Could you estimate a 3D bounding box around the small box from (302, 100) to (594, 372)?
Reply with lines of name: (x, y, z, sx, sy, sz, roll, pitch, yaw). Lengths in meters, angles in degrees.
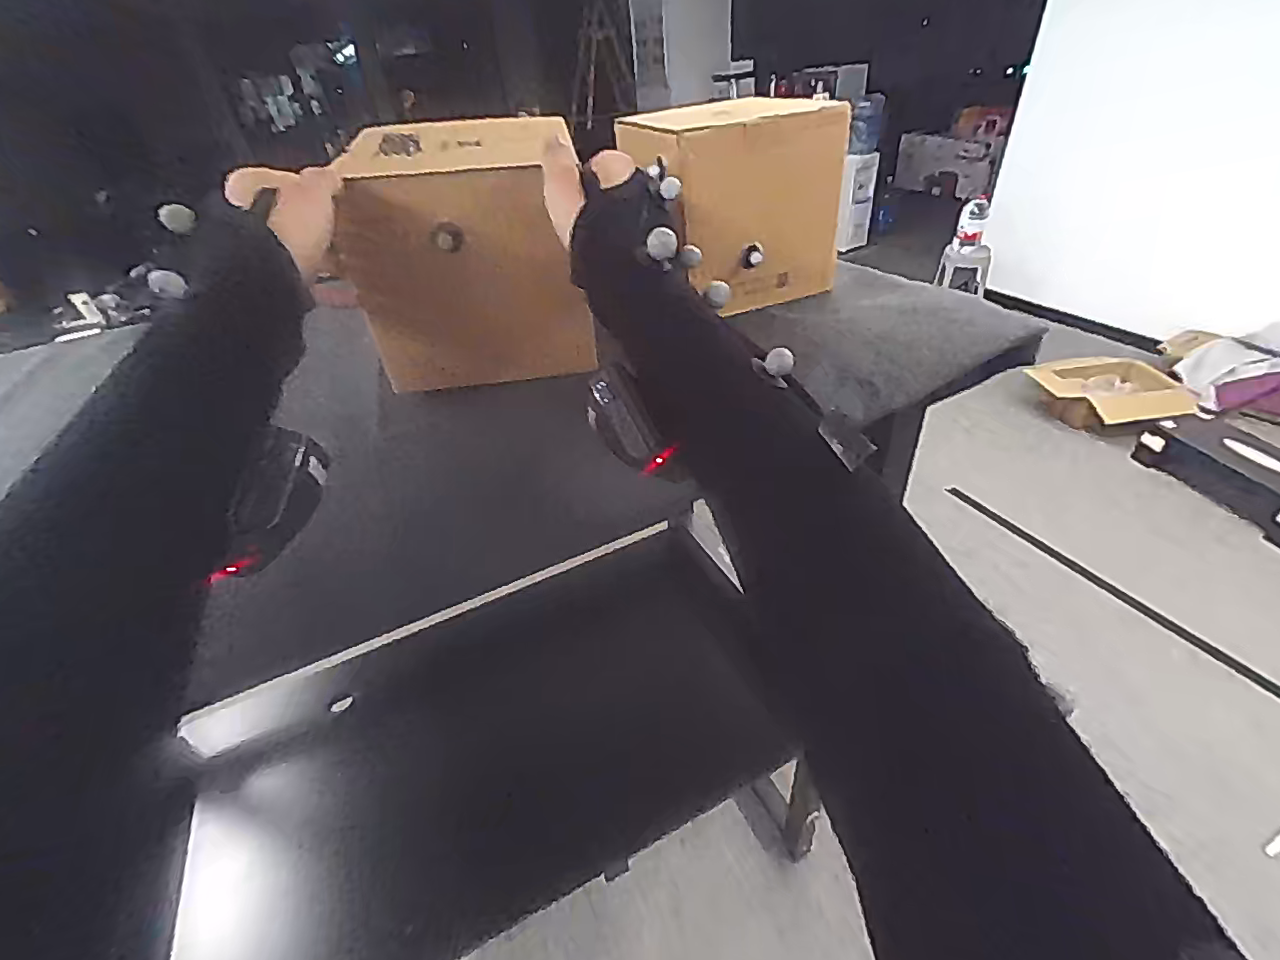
small box: (-0.138, -0.205, 0.459, 0.179, 0.176, 0.168, -7, 44, -6)

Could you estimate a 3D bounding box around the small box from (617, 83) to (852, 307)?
small box: (0.085, -0.295, 0.557, 0.168, 0.176, 0.179, -17, 40, -12)
